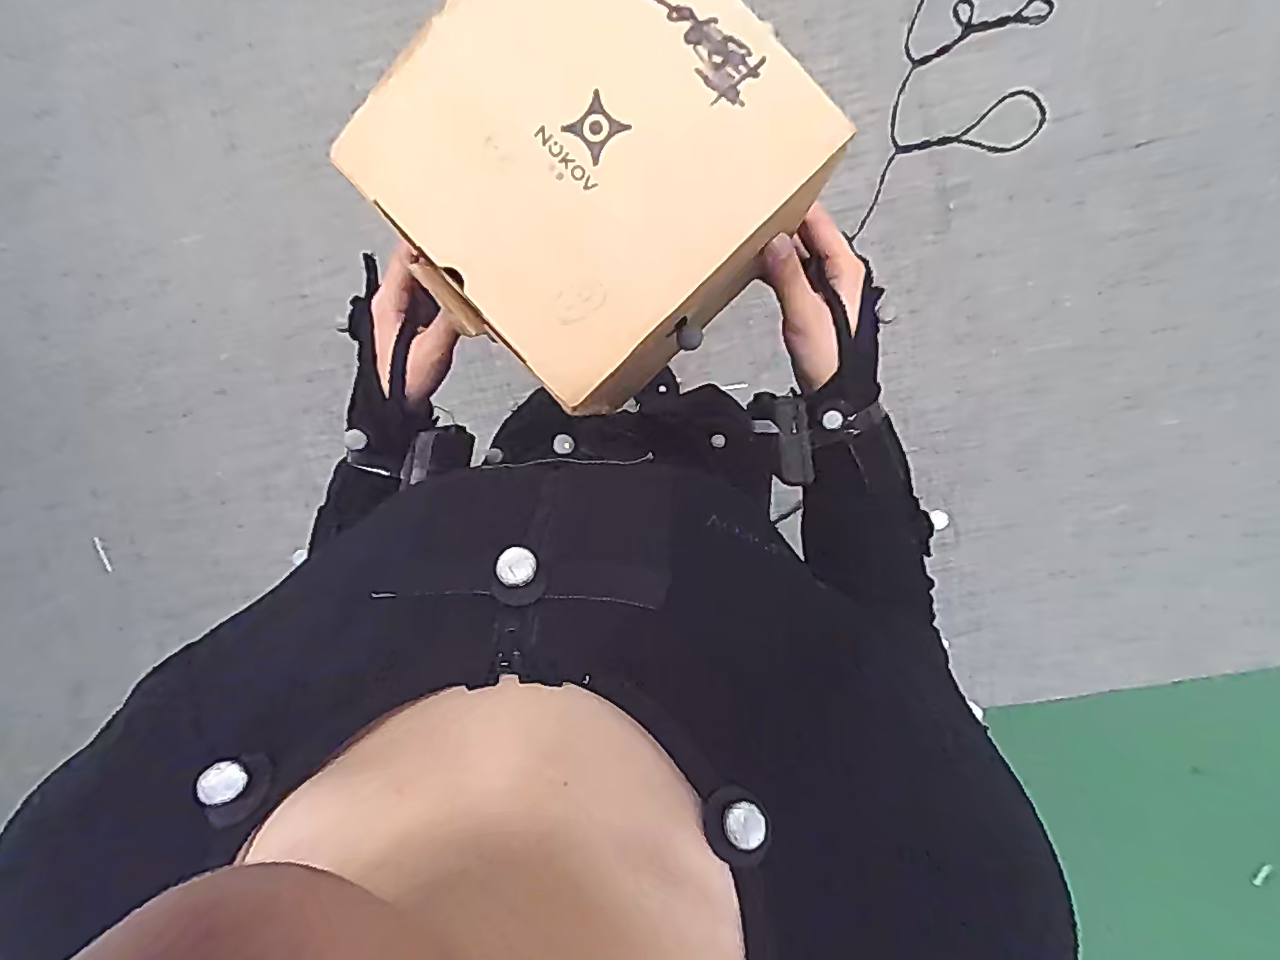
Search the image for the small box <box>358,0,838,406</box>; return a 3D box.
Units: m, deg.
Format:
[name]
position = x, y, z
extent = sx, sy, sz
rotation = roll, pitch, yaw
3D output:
[small box]
position = -0.017, -0.160, 0.334
extent = 0.179, 0.176, 0.168
rotation = -43, 92, 8
